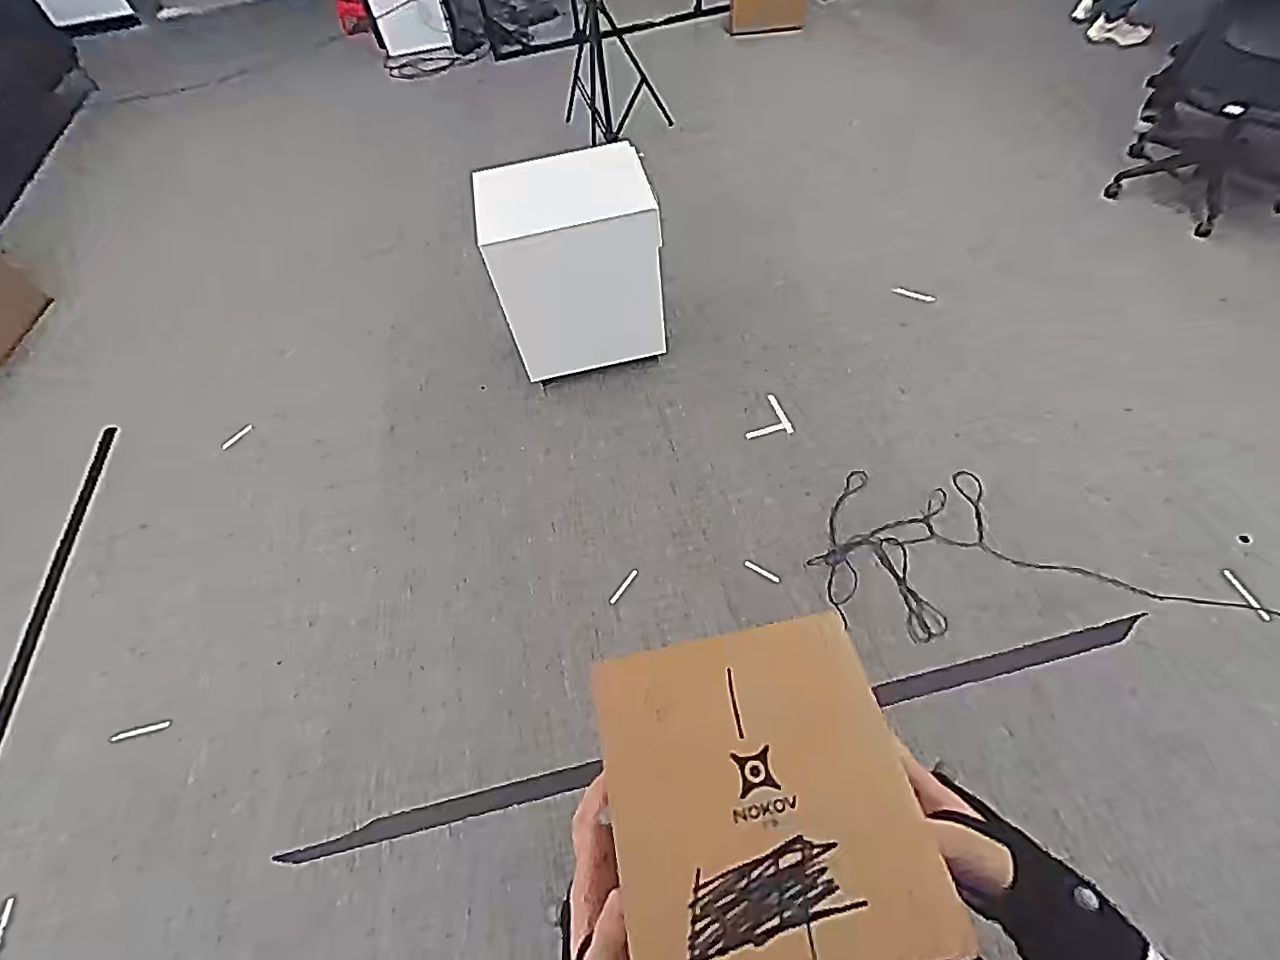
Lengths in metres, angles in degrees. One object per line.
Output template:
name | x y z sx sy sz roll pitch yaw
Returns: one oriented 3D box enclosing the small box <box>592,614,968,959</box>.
small box | 0.069 0.215 0.366 0.168 0.176 0.179 -11 56 -3
